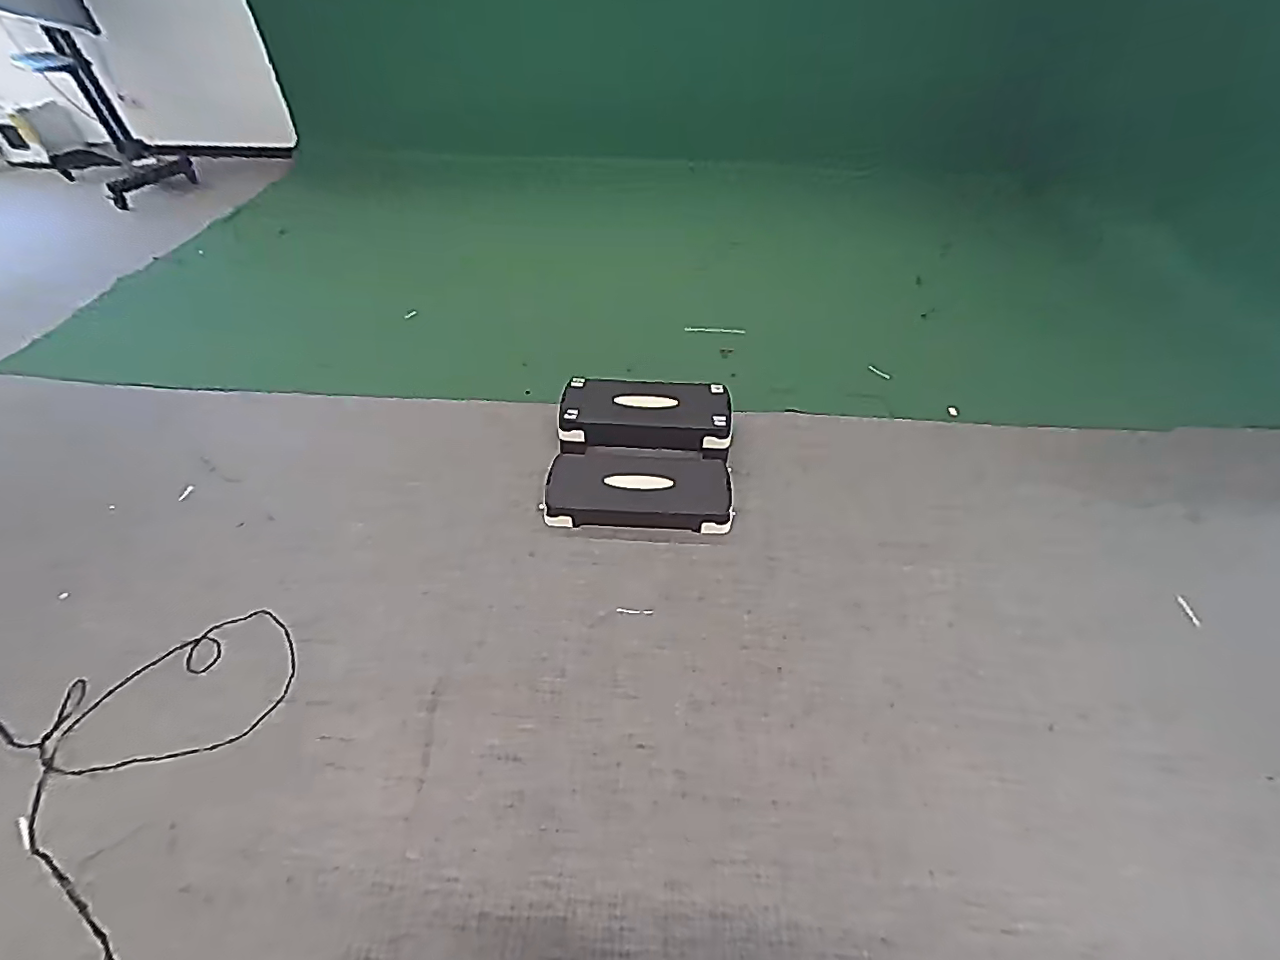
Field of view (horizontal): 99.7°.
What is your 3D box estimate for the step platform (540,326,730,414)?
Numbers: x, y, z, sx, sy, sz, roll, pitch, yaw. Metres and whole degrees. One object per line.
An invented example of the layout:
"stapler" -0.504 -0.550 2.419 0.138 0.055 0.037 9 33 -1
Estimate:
"step platform" -0.017 -0.410 2.027 0.684 0.204 0.286 2 47 2
